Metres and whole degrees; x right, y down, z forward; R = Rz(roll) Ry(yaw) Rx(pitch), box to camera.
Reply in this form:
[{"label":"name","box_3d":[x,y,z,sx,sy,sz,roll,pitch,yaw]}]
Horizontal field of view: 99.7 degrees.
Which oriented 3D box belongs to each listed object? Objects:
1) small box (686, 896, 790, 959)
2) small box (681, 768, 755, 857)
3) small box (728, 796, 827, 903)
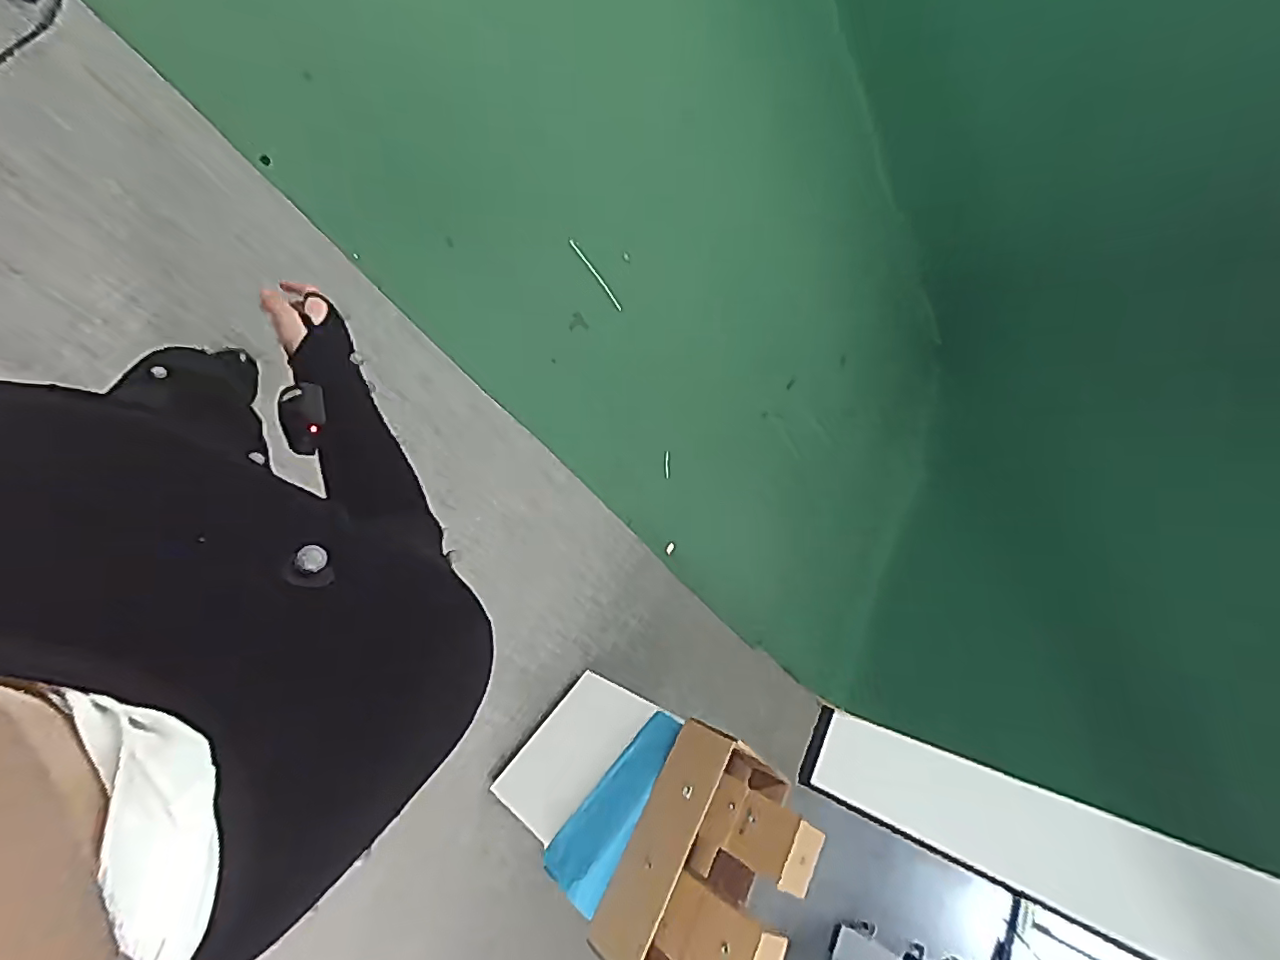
[{"label":"small box","box_3d":[0.238,1.188,1.342,0.168,0.176,0.179,49,61,-35]},{"label":"small box","box_3d":[0.252,0.968,1.564,0.179,0.176,0.168,49,62,-35]},{"label":"small box","box_3d":[0.367,0.983,1.449,0.179,0.176,0.168,49,62,-35]}]
